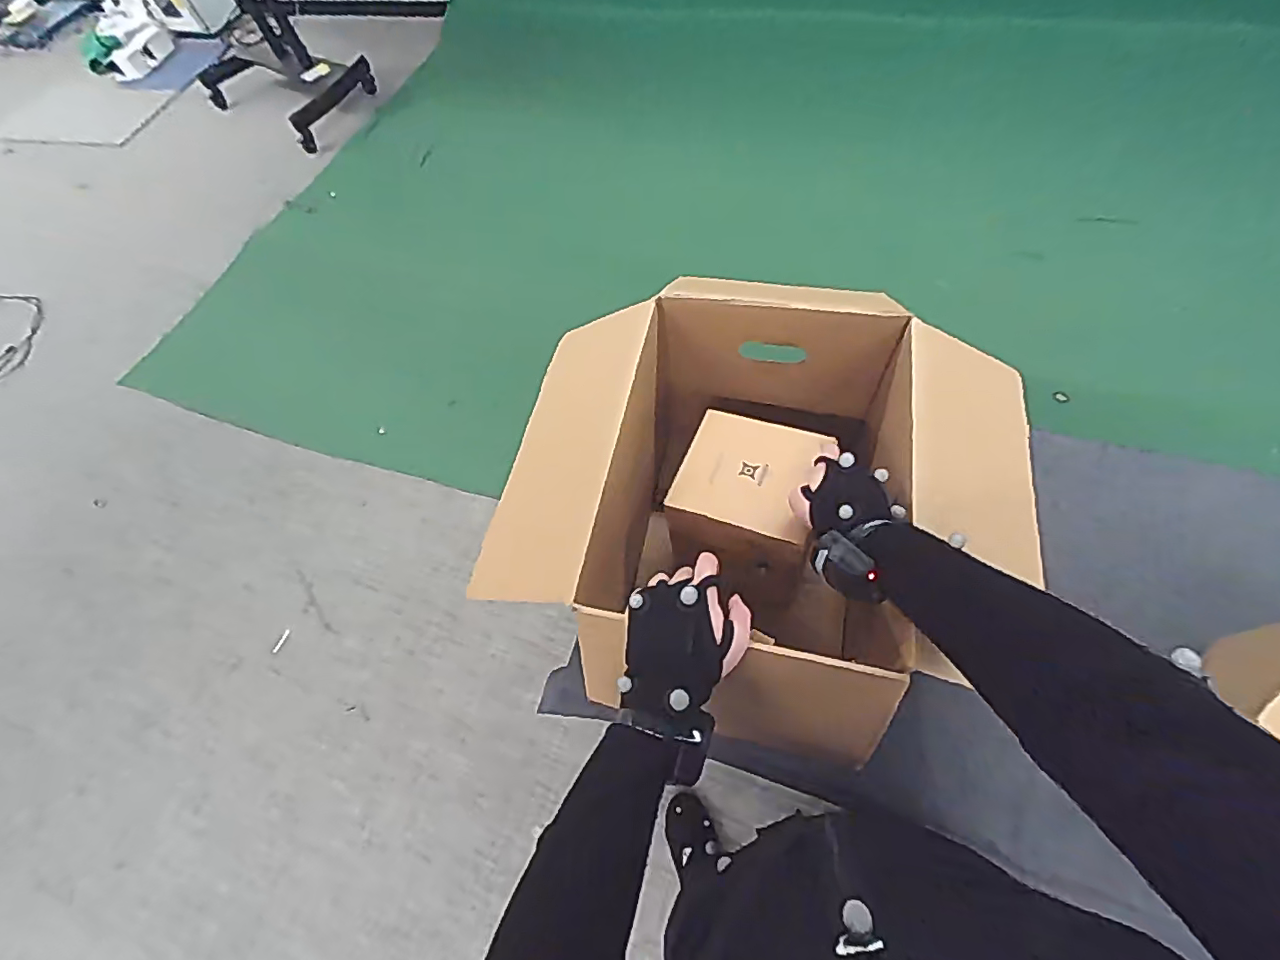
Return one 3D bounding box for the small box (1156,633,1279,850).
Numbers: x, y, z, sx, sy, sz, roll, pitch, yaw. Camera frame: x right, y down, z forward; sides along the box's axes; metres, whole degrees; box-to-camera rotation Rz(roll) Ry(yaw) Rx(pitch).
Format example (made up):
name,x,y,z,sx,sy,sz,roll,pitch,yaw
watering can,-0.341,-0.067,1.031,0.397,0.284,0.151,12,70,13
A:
name,x,y,z,sx,sy,sz,roll,pitch,yaw
small box,0.719,0.280,0.574,0.179,0.176,0.168,-37,63,-11
